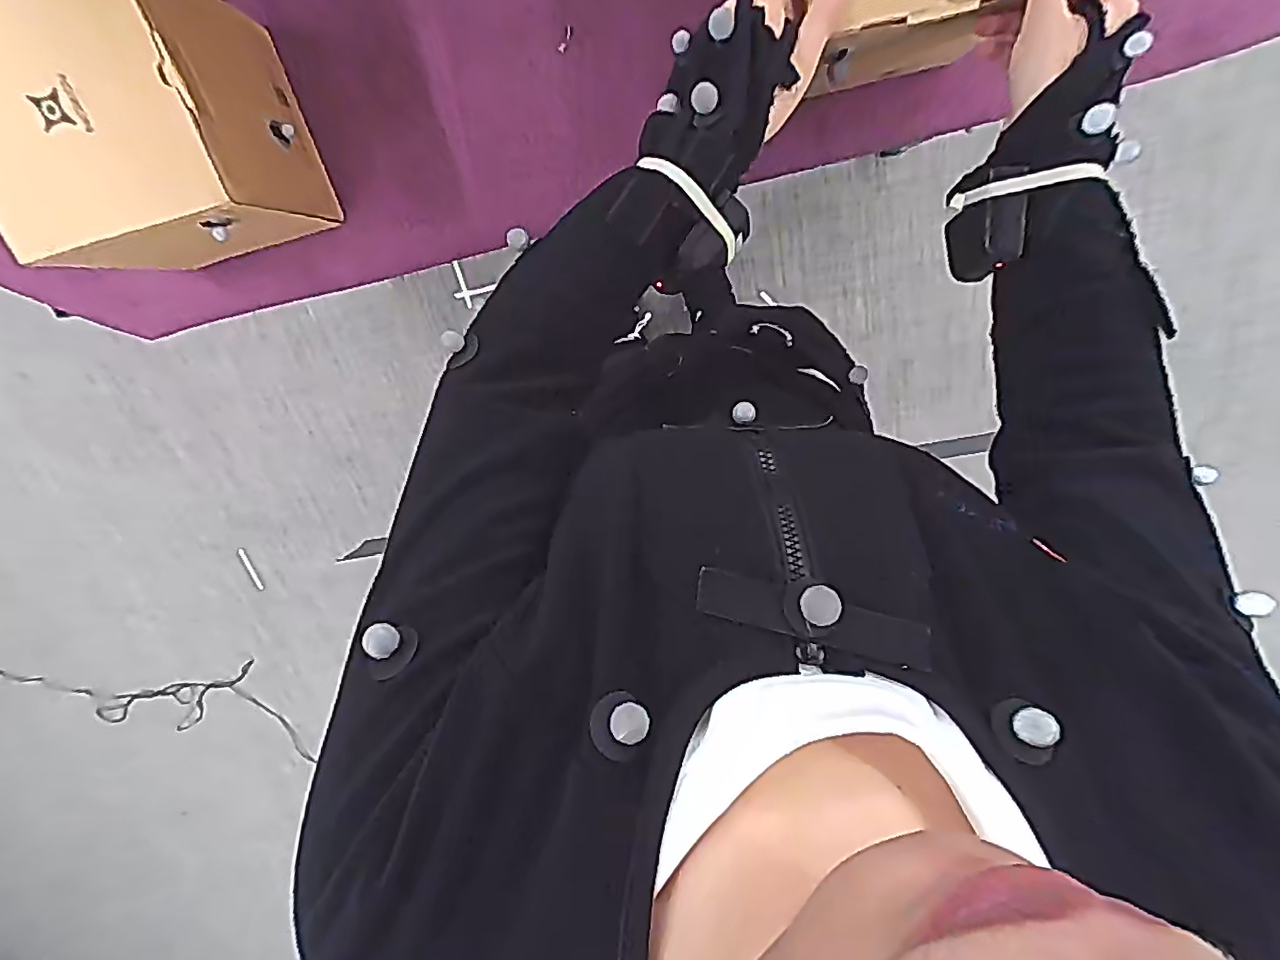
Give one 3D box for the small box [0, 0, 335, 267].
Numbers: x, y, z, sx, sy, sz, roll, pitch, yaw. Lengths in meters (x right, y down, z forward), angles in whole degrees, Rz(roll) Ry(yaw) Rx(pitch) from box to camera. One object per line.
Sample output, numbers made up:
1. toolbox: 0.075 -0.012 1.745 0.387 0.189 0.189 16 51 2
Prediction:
1. small box: -0.405 -0.284 0.454 0.179 0.176 0.168 -15 110 4
